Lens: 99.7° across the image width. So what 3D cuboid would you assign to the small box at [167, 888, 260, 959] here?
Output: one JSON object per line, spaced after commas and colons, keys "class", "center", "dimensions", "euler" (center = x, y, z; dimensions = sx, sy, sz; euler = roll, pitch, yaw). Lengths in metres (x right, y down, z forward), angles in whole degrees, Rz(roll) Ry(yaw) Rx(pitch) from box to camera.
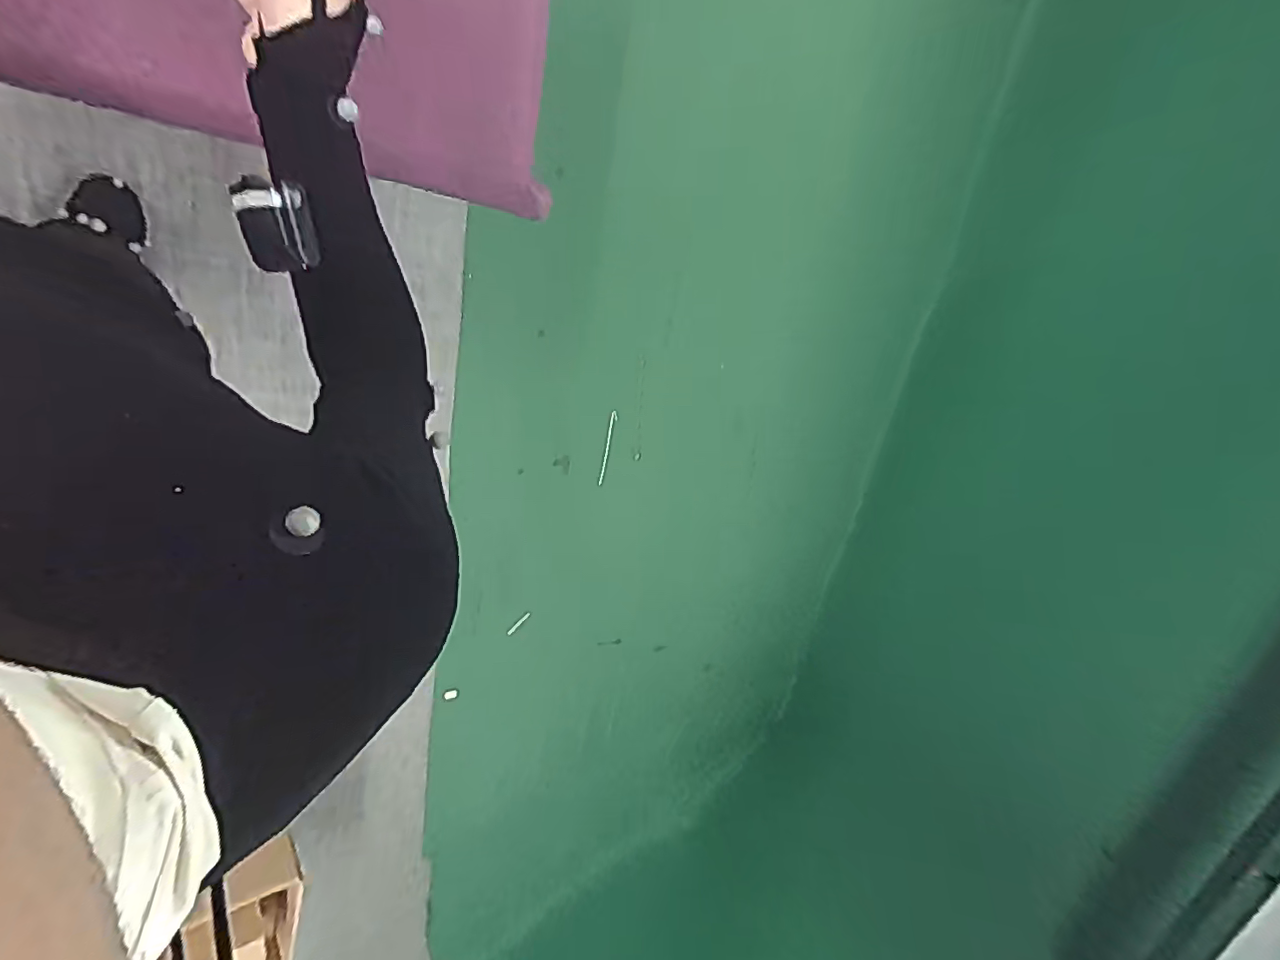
{"class": "small box", "center": [-1.123, 1.236, 1.422], "dimensions": [0.179, 0.176, 0.168], "euler": [-3, 114, -44]}
